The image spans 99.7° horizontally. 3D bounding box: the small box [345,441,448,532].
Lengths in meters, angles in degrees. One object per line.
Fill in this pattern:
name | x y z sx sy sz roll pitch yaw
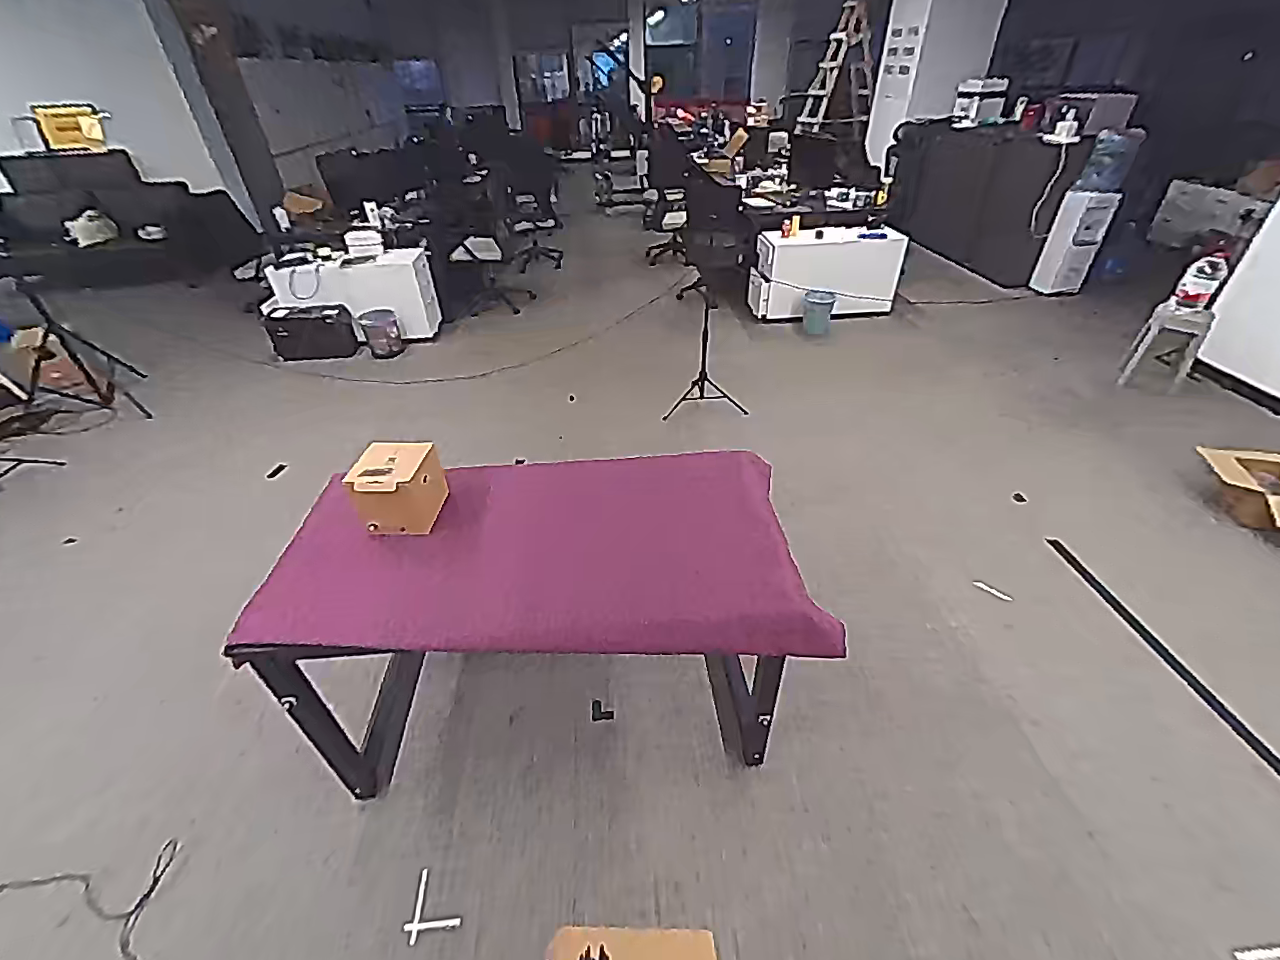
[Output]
small box | -0.609 0.018 1.379 0.168 0.176 0.179 0 38 2
